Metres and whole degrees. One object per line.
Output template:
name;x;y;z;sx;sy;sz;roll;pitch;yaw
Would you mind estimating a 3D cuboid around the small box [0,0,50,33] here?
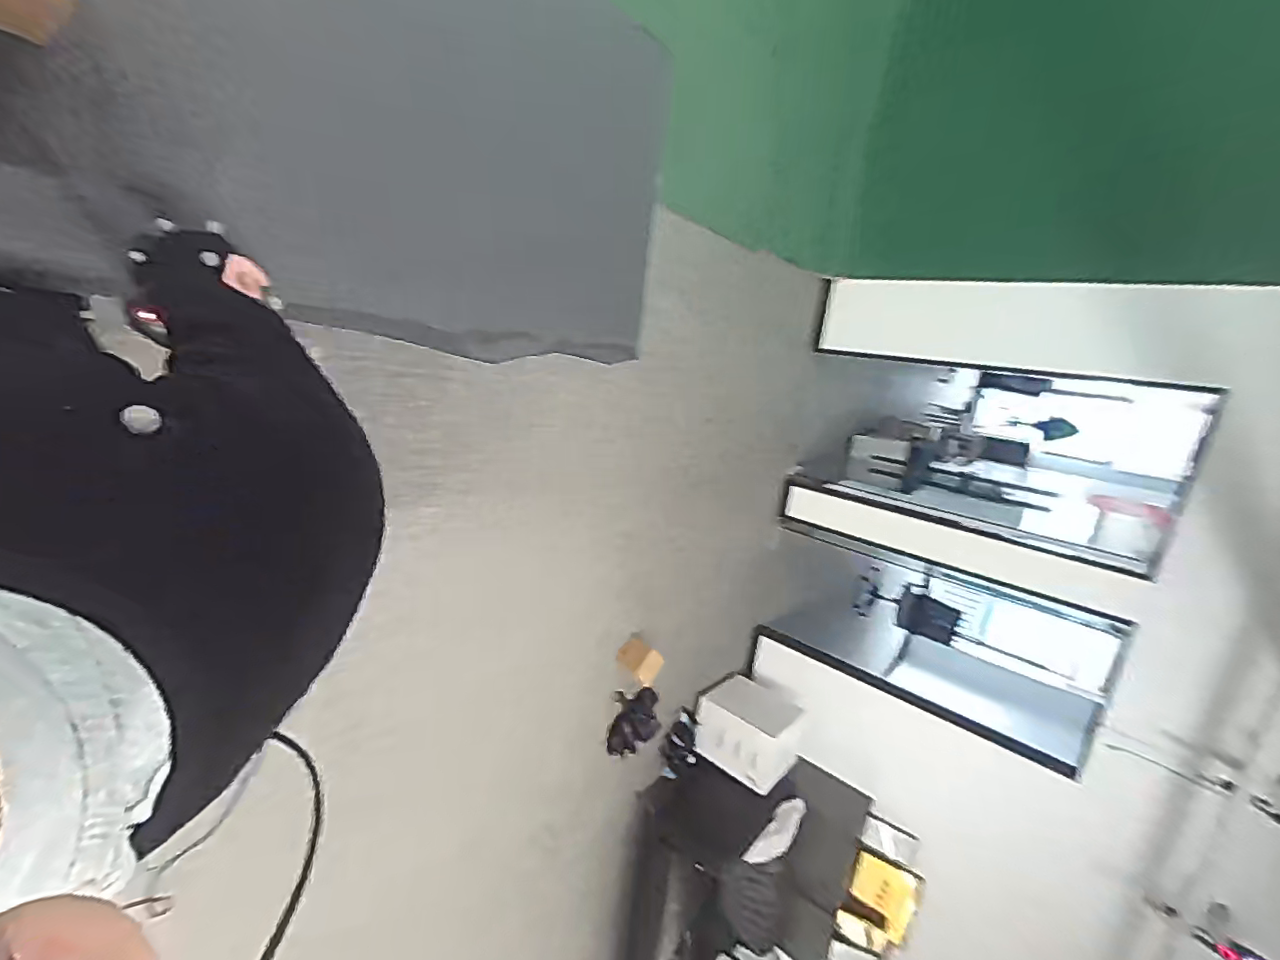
small box;-0.560;-0.482;0.398;0.168;0.176;0.179;-7;110;-52
